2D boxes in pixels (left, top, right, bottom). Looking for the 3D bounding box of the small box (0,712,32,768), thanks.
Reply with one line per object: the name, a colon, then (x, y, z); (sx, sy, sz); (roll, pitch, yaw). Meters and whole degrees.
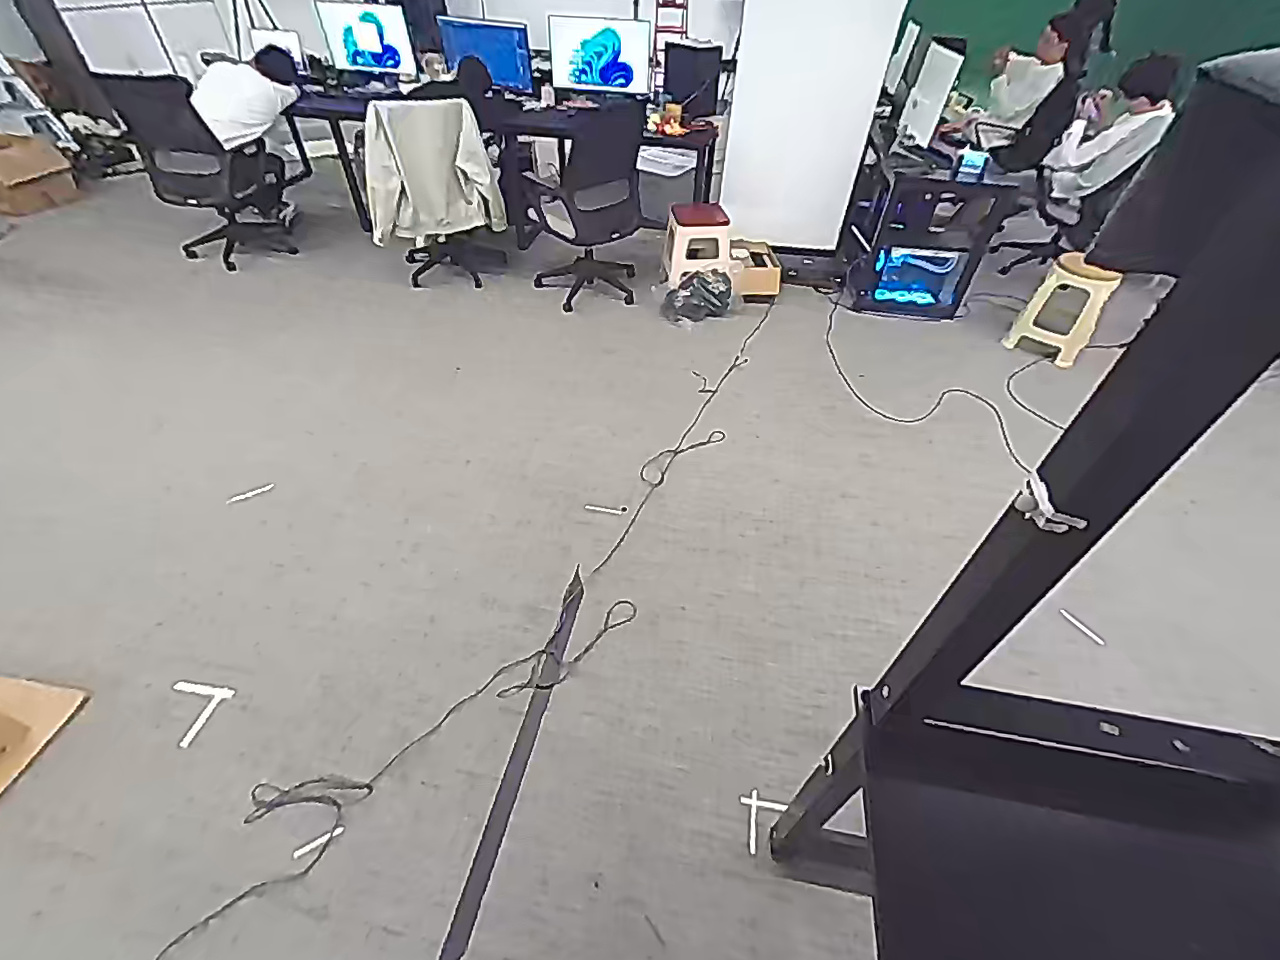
small box: (-1.665, 0.636, 1.298); (0.179, 0.176, 0.168); (9, 45, 5)
